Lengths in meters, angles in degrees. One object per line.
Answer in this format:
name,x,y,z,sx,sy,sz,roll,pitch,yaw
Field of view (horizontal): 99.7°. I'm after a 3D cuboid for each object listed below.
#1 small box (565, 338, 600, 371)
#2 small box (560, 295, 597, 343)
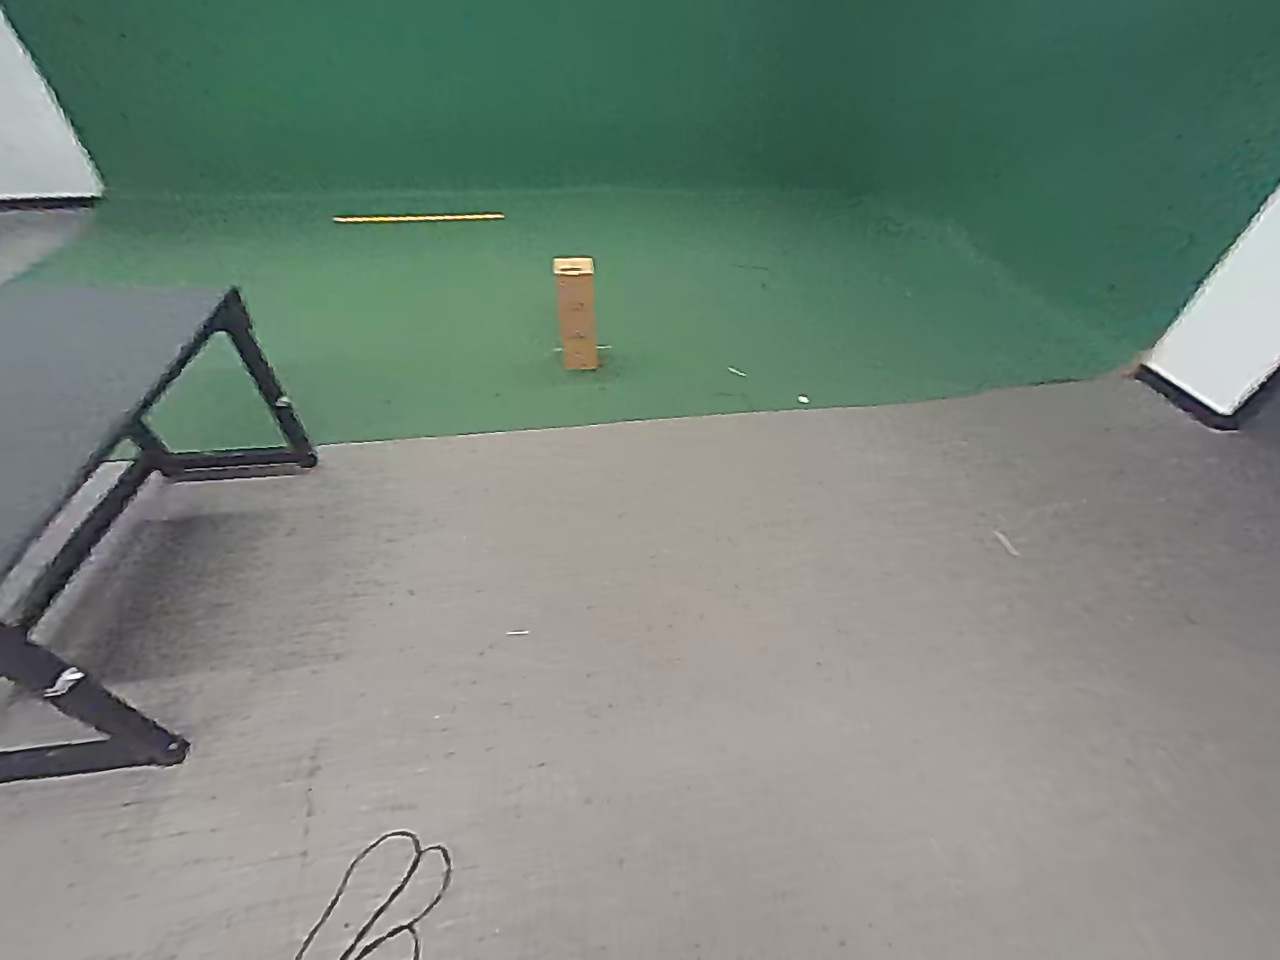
small box,-0.293,-0.663,2.739,0.168,0.176,0.179,-6,44,-6
small box,-0.297,-0.782,2.624,0.168,0.176,0.179,-4,44,-4
